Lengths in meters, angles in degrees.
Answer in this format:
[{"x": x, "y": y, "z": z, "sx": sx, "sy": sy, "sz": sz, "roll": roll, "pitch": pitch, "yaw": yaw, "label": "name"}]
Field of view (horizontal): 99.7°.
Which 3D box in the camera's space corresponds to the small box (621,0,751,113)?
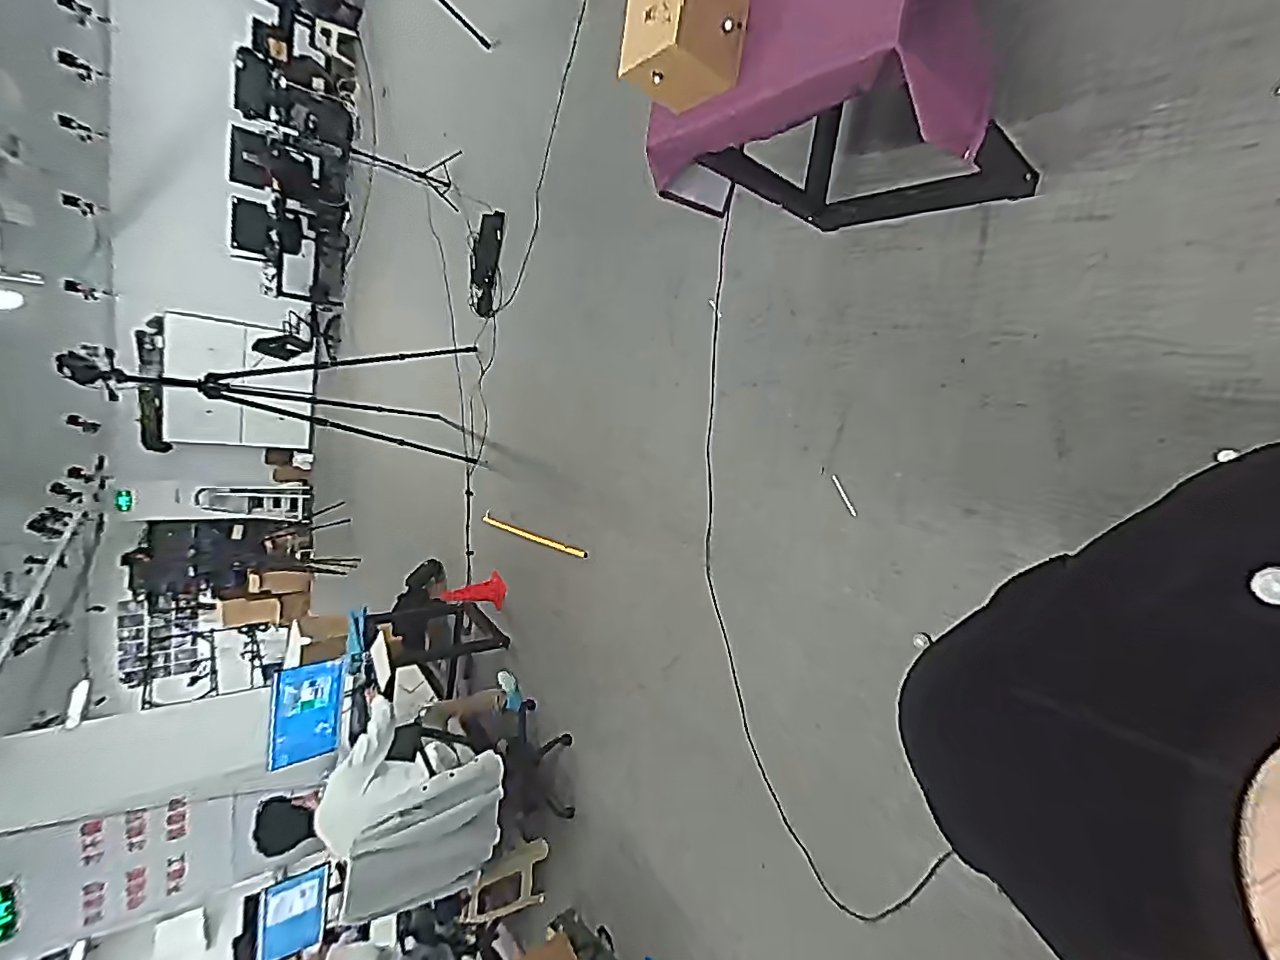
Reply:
[{"x": 0.090, "y": -0.868, "z": 1.070, "sx": 0.179, "sy": 0.176, "sz": 0.168, "roll": 19, "pitch": 103, "yaw": 48, "label": "small box"}]
